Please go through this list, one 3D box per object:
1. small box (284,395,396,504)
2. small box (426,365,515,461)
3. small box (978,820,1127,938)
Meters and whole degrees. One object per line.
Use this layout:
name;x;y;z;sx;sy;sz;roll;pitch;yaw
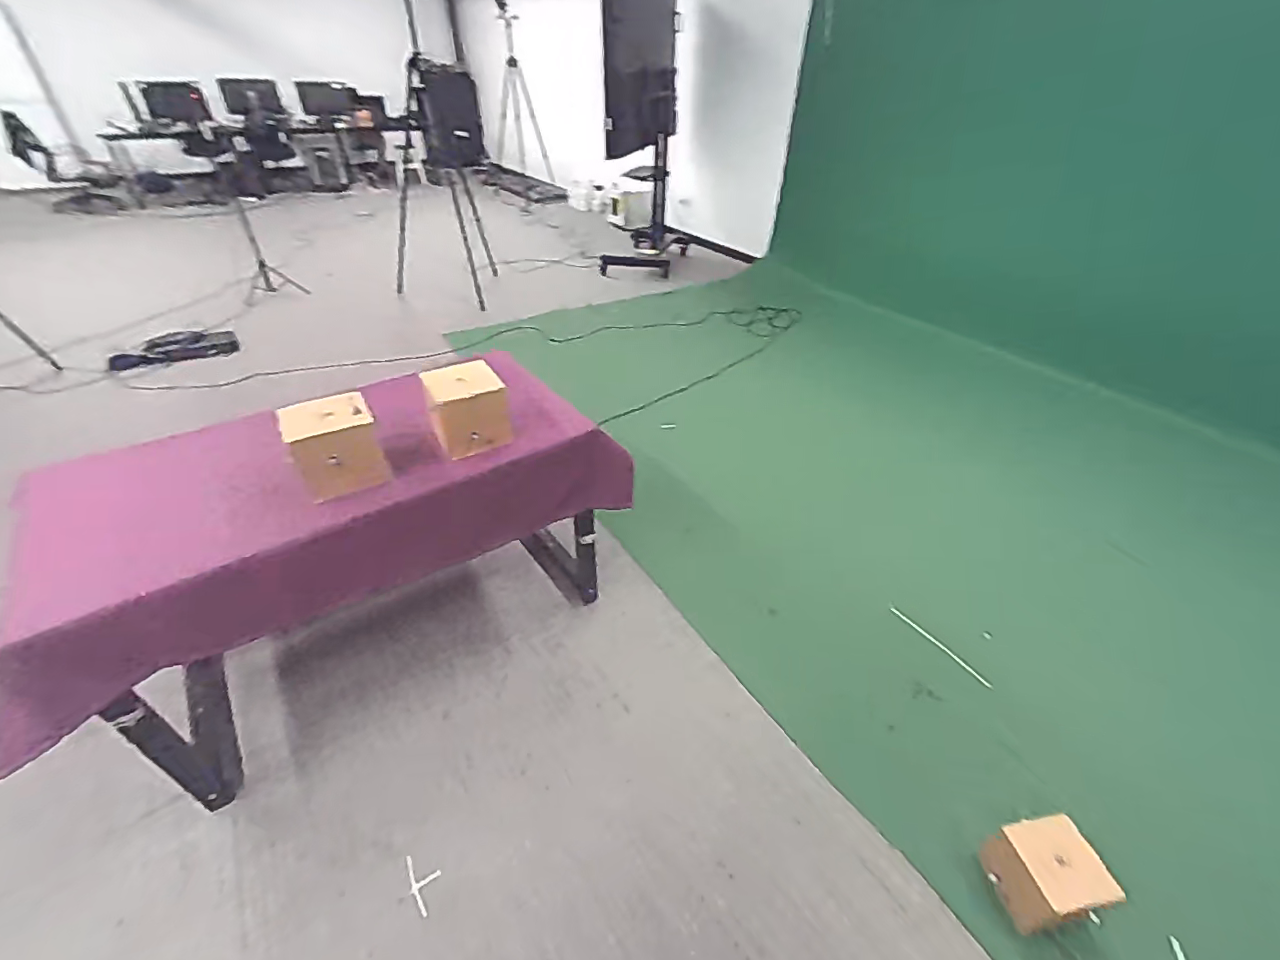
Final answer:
small box;-0.691;-0.070;1.254;0.179;0.176;0.168;-21;43;-25
small box;-0.437;-0.174;1.401;0.168;0.176;0.179;-20;43;-25
small box;0.925;0.908;1.233;0.179;0.176;0.168;-4;38;-8
